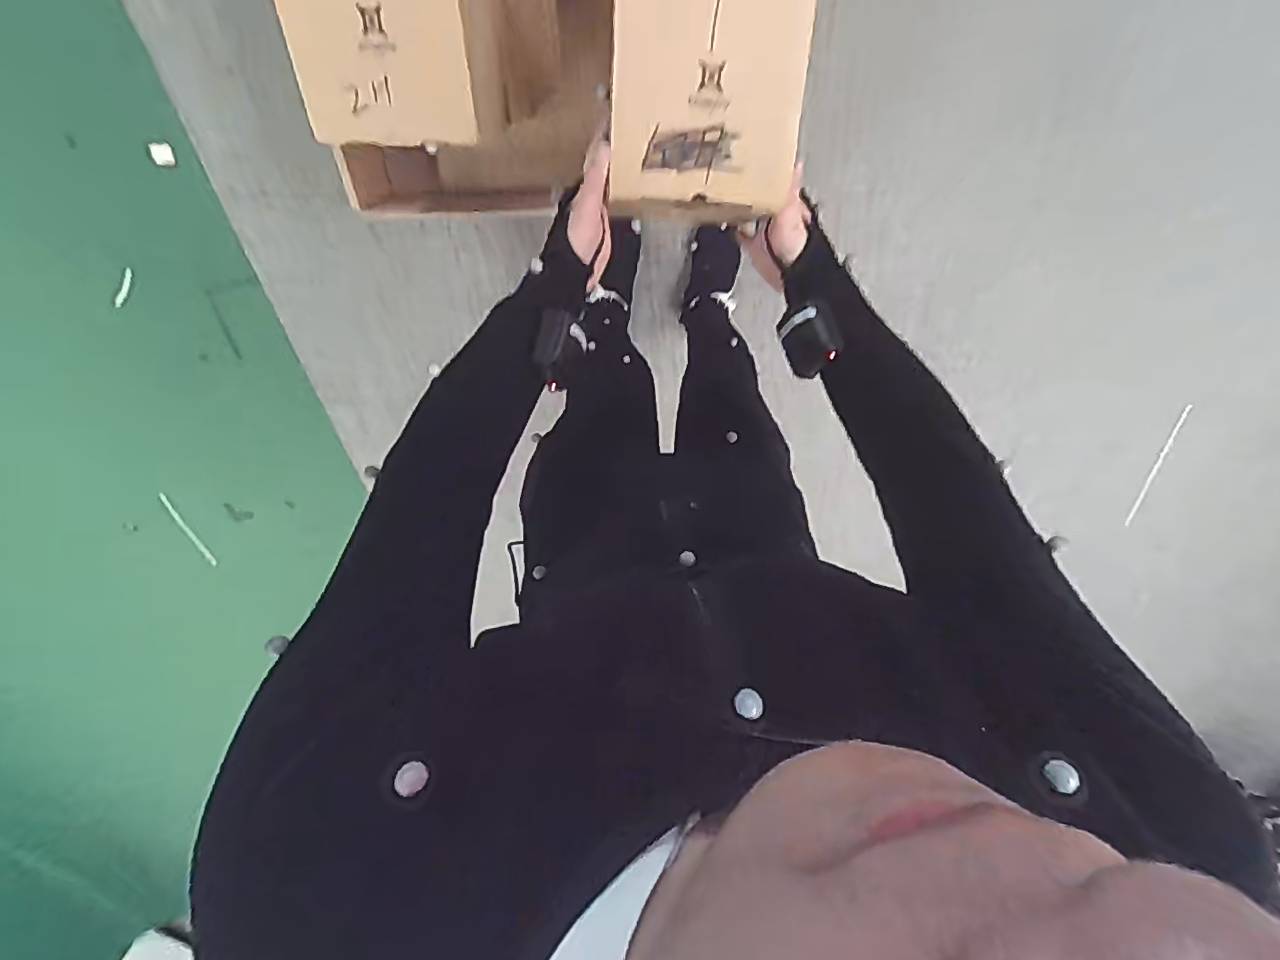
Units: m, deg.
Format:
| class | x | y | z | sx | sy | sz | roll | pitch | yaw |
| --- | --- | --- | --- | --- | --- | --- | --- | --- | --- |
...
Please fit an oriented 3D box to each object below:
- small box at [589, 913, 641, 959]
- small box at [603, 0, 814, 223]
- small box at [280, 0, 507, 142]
| class | x | y | z | sx | sy | sz | roll | pitch | yaw |
| --- | --- | --- | --- | --- | --- | --- | --- | --- | --- |
| small box | -0.087 | 1.696 | 1.952 | 0.168 | 0.176 | 0.179 | -7 | 125 | 3 |
| small box | 0.053 | -0.357 | 0.530 | 0.168 | 0.176 | 0.179 | 2 | 111 | -3 |
| small box | -0.244 | -0.461 | 0.563 | 0.168 | 0.176 | 0.179 | 0 | 126 | 0 |
